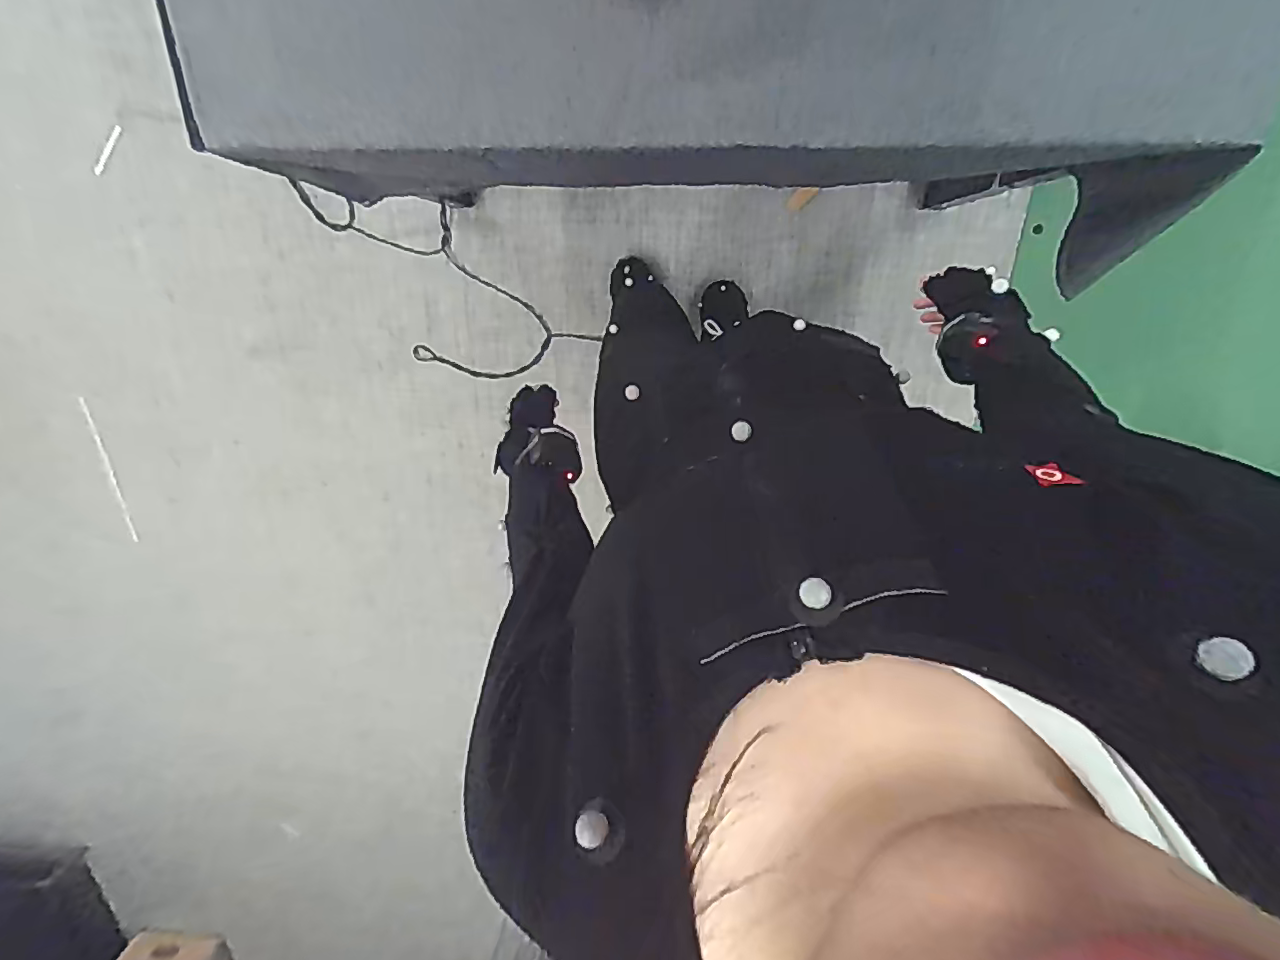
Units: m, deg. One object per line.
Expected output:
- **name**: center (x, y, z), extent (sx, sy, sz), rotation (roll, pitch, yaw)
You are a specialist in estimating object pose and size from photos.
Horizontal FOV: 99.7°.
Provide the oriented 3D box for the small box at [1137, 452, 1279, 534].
- **small box**: center (1.408, 0.036, 1.341), extent (0.179, 0.176, 0.168), rotation (7, 111, 2)
